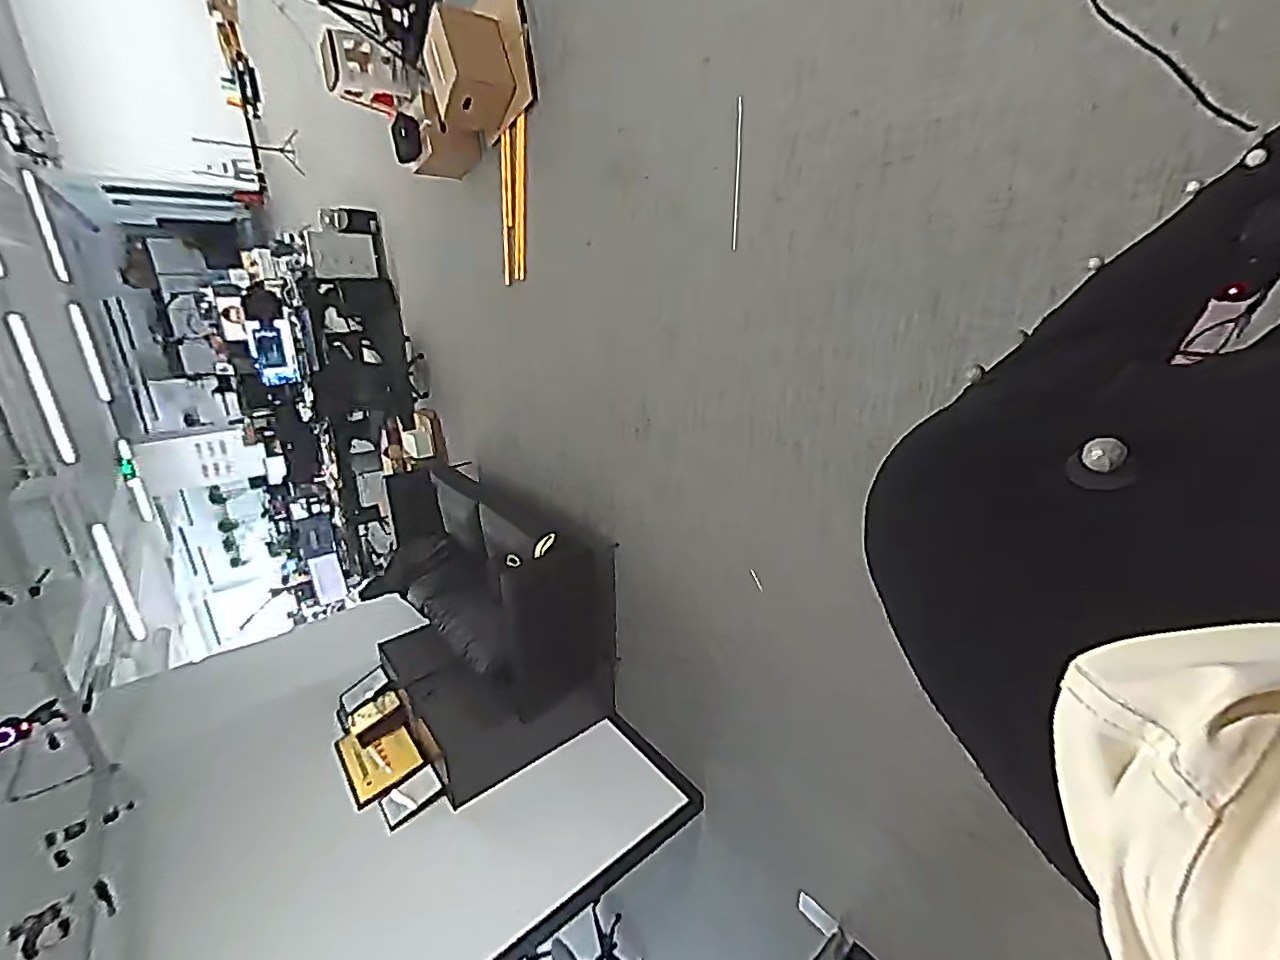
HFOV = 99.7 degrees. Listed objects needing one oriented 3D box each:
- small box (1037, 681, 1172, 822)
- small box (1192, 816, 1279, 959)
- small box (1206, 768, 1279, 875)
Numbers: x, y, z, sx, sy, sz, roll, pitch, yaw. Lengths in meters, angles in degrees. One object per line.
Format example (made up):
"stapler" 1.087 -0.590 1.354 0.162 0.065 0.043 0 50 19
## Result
"small box" 1.005 0.575 1.168 0.168 0.176 0.179 29 126 42
"small box" 1.058 0.701 0.874 0.168 0.176 0.179 32 128 43
"small box" 1.185 0.673 0.975 0.168 0.176 0.179 29 125 45
